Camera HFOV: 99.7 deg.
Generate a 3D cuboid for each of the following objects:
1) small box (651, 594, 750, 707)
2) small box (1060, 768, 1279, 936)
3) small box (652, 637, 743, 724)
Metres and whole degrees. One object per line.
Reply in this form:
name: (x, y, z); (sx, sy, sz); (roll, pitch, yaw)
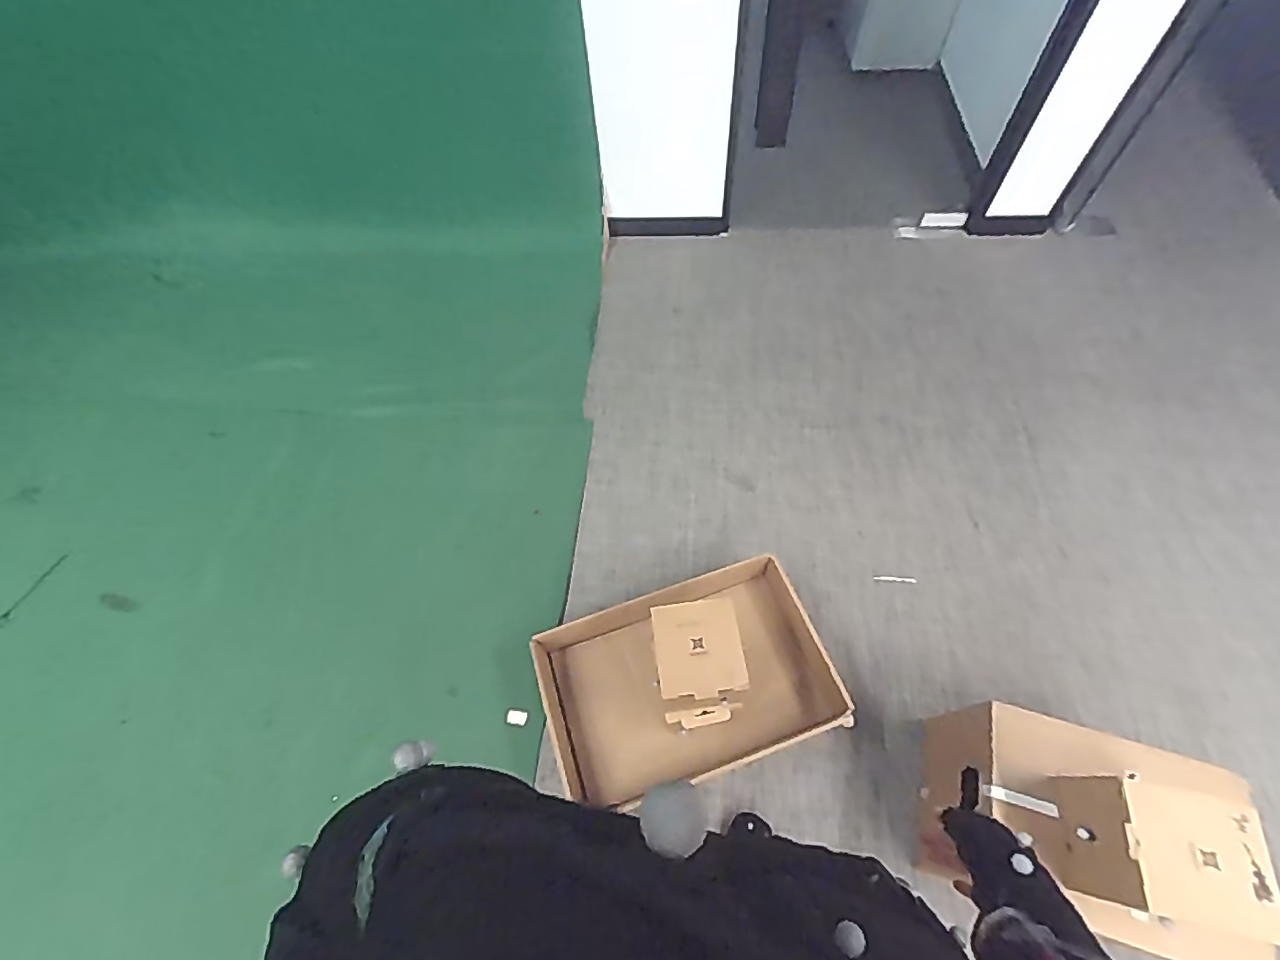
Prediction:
small box: (0.119, 0.352, 1.096); (0.168, 0.176, 0.179); (-8, 58, -1)
small box: (0.779, 0.550, 0.820); (0.179, 0.176, 0.168); (9, 62, 9)
small box: (0.130, 0.446, 1.228); (0.168, 0.176, 0.179); (-12, 59, -1)
